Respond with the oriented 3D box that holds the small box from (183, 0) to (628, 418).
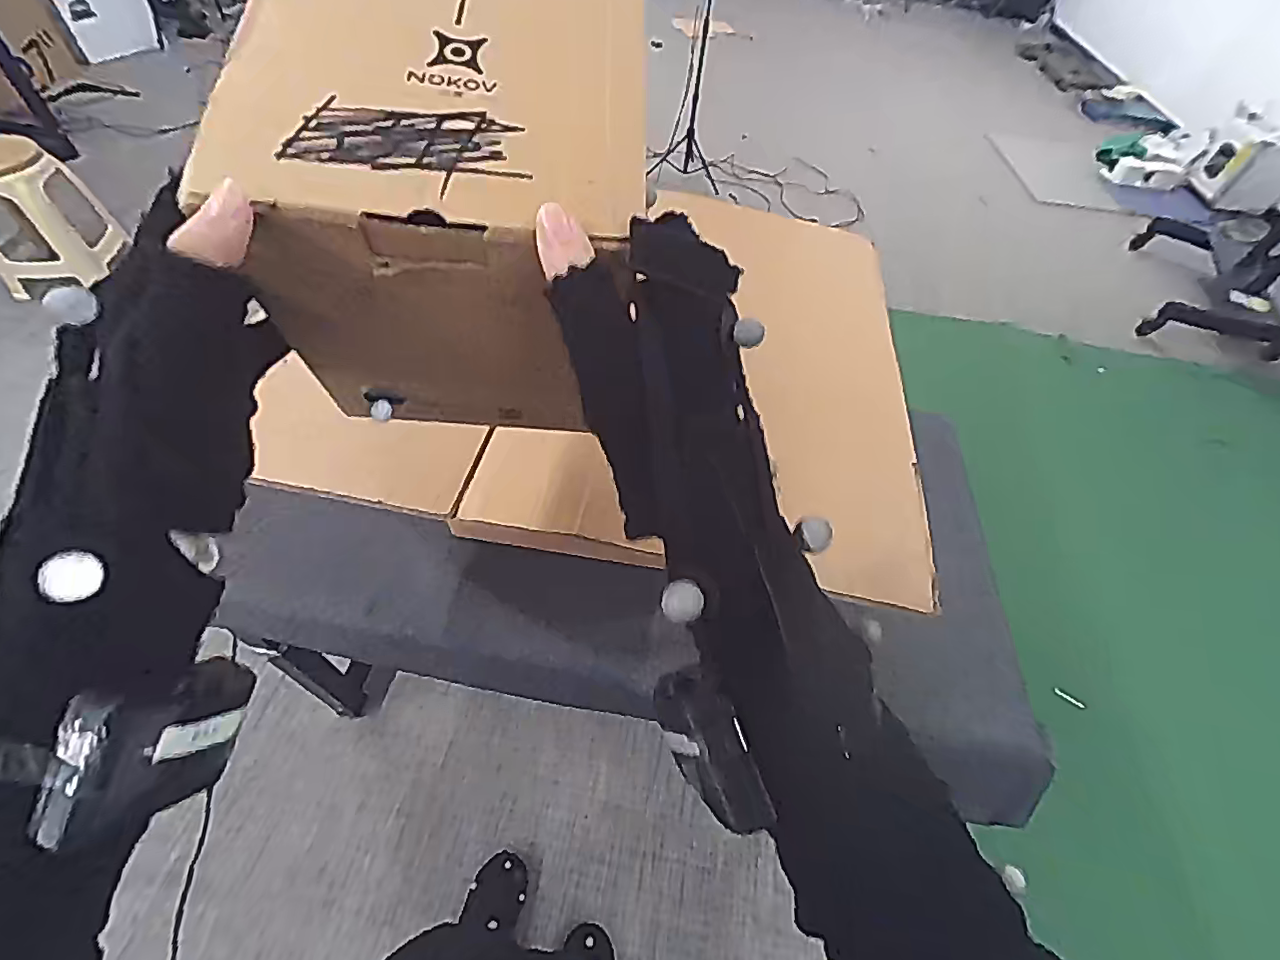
[{"bbox_3d":[-0.098,-0.150,0.311,0.168,0.176,0.179,3,68,-8],"label":"small box"}]
